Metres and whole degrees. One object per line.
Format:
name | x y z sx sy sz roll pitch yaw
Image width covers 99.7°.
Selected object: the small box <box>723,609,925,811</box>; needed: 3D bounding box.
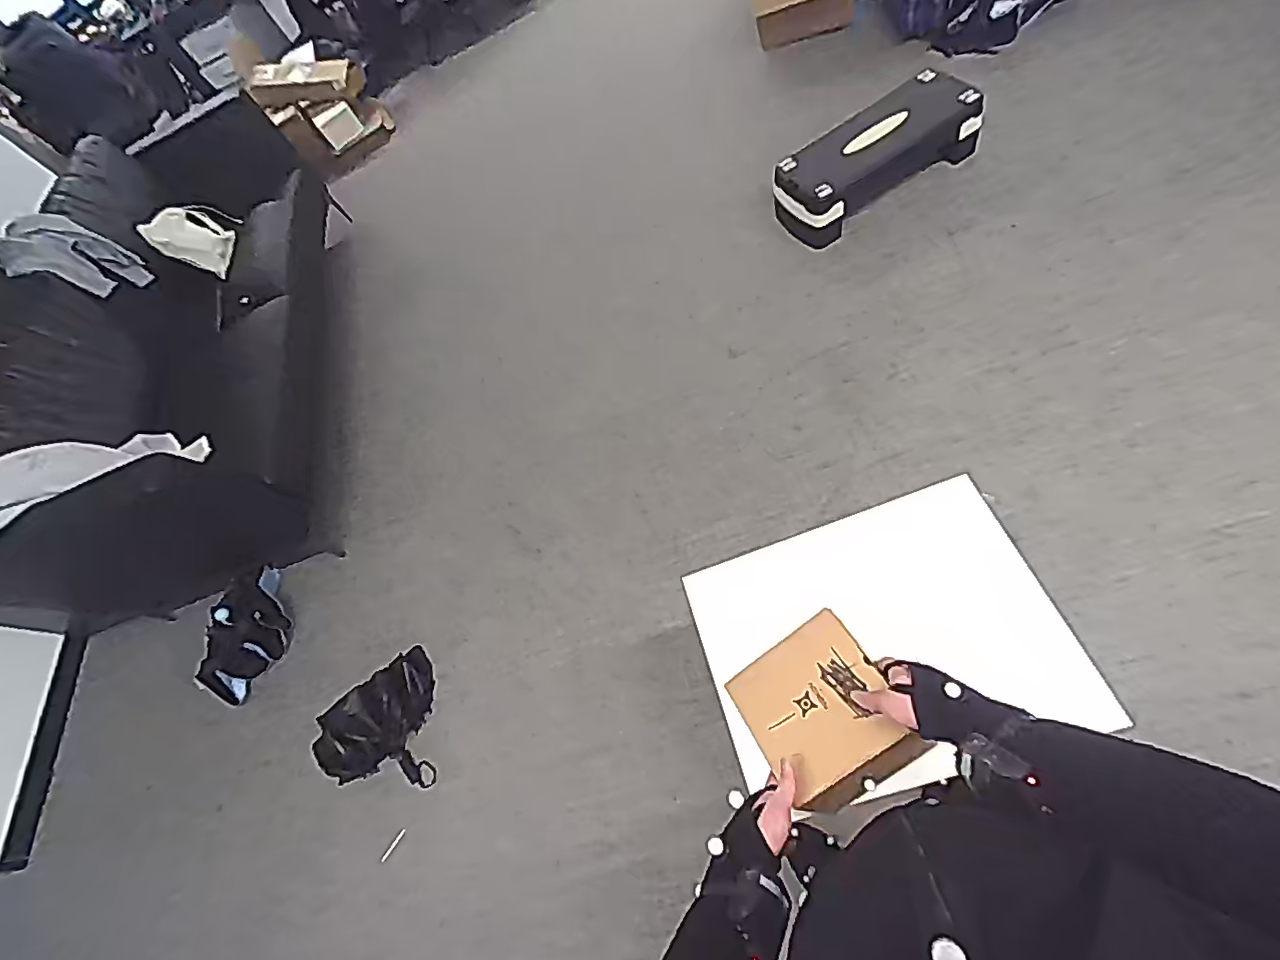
small box | 0.247 0.306 0.712 0.179 0.176 0.168 -40 45 8
